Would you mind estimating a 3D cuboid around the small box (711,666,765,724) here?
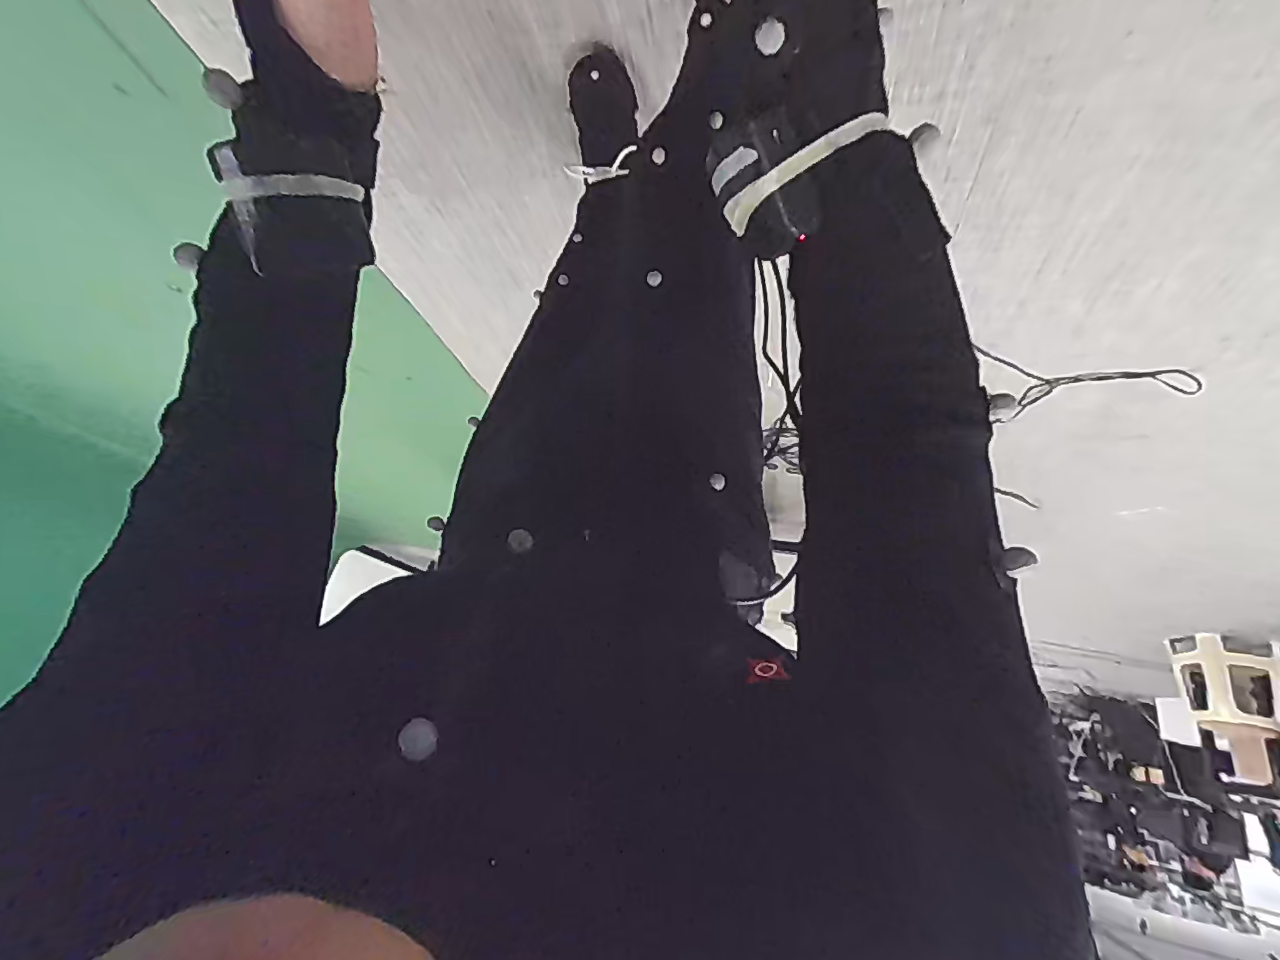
[{"bbox_3d":[0.367,0.792,1.999,0.179,0.176,0.168,6,158,18],"label":"small box"}]
